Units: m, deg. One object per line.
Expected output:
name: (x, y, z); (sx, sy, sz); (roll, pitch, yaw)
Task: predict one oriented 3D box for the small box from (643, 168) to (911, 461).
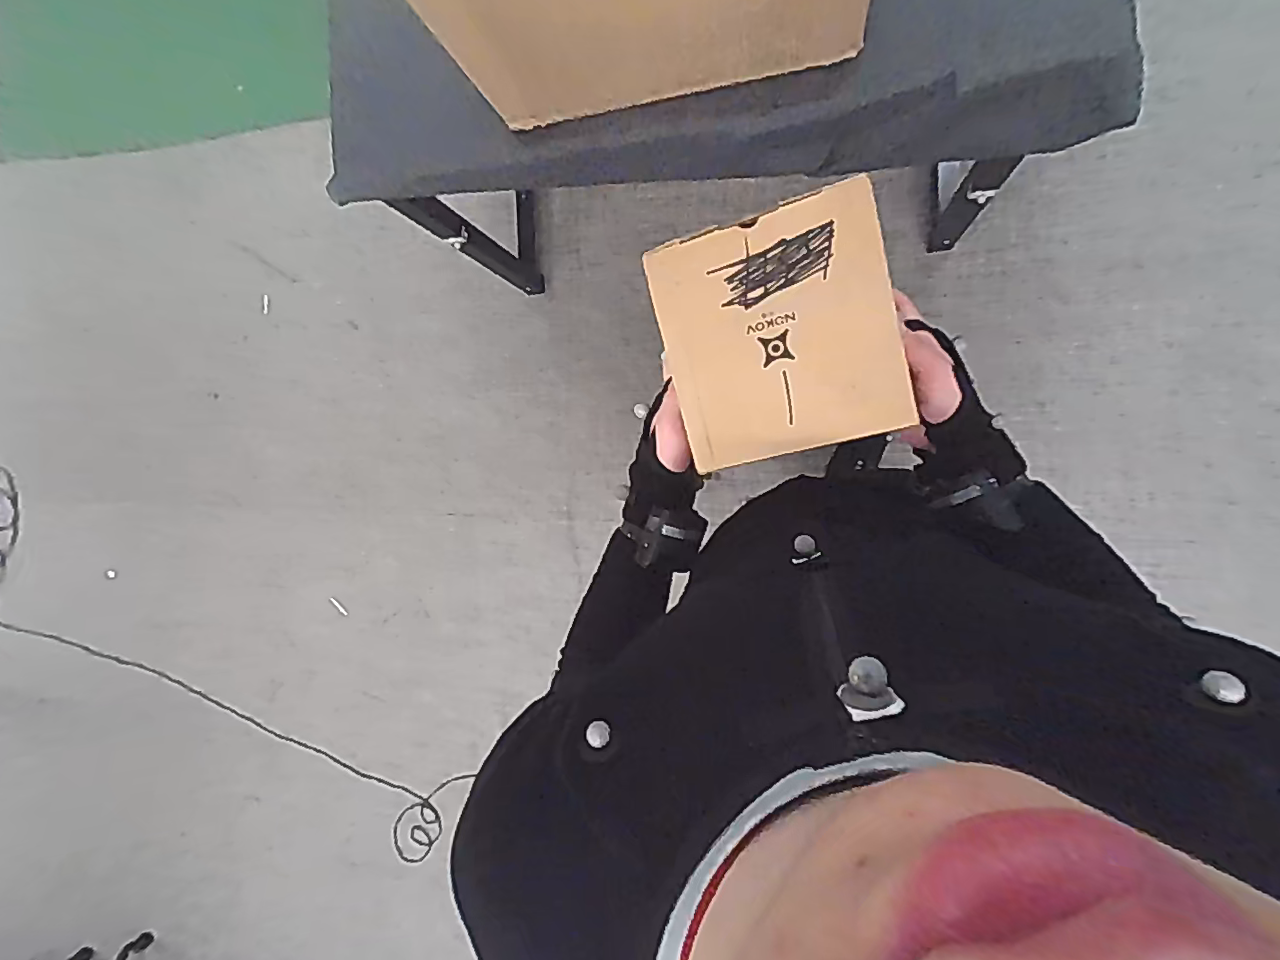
small box: (0.117, -0.127, 0.470); (0.168, 0.176, 0.179); (-12, 98, 18)
